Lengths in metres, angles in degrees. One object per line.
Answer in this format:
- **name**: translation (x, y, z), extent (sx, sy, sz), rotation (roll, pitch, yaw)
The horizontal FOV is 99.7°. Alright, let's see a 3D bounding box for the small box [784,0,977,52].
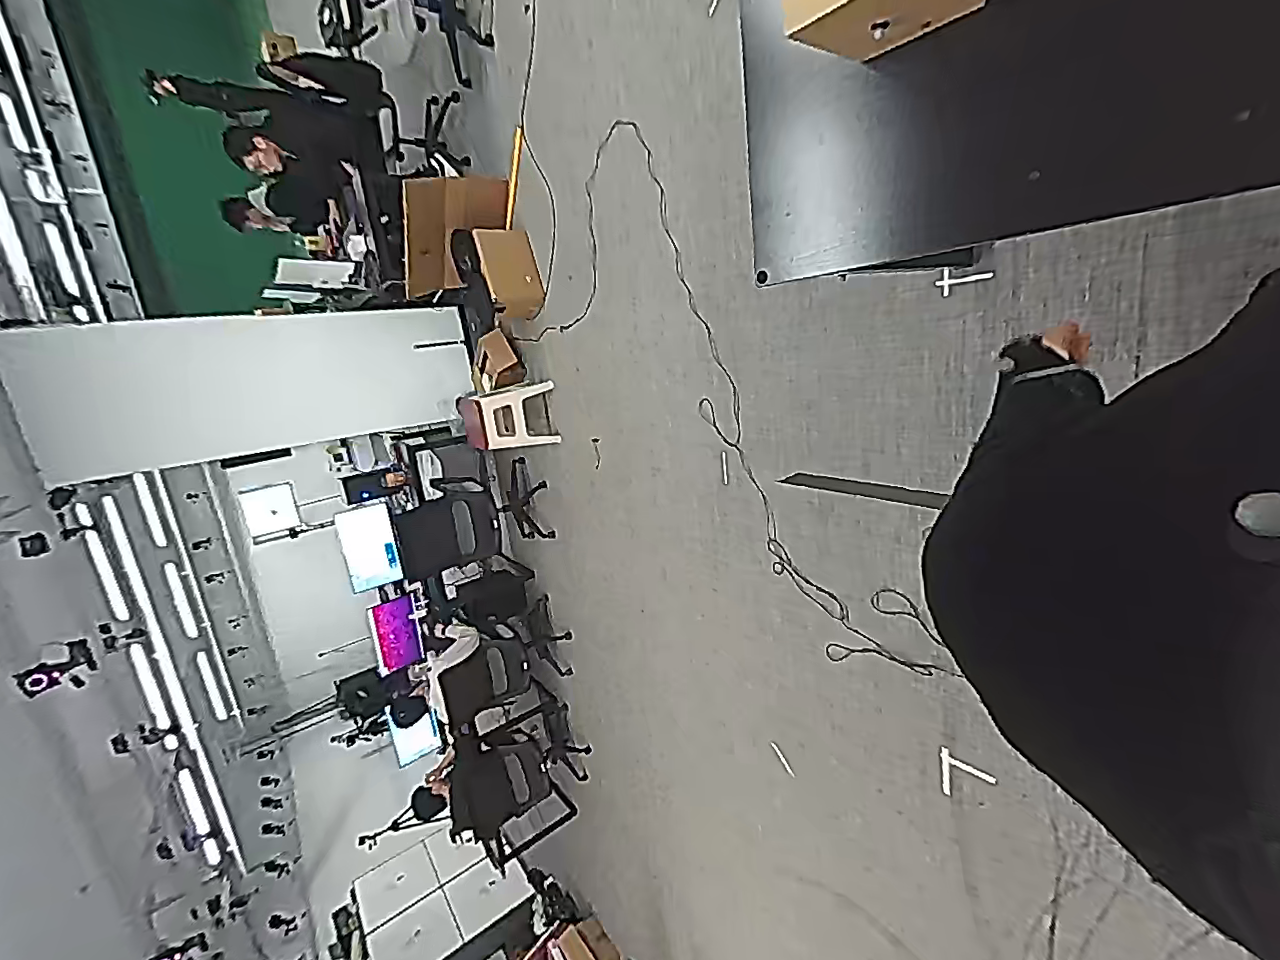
- **small box**: translation (0.286, -0.636, 0.629), extent (0.168, 0.176, 0.179), rotation (16, 116, 51)
